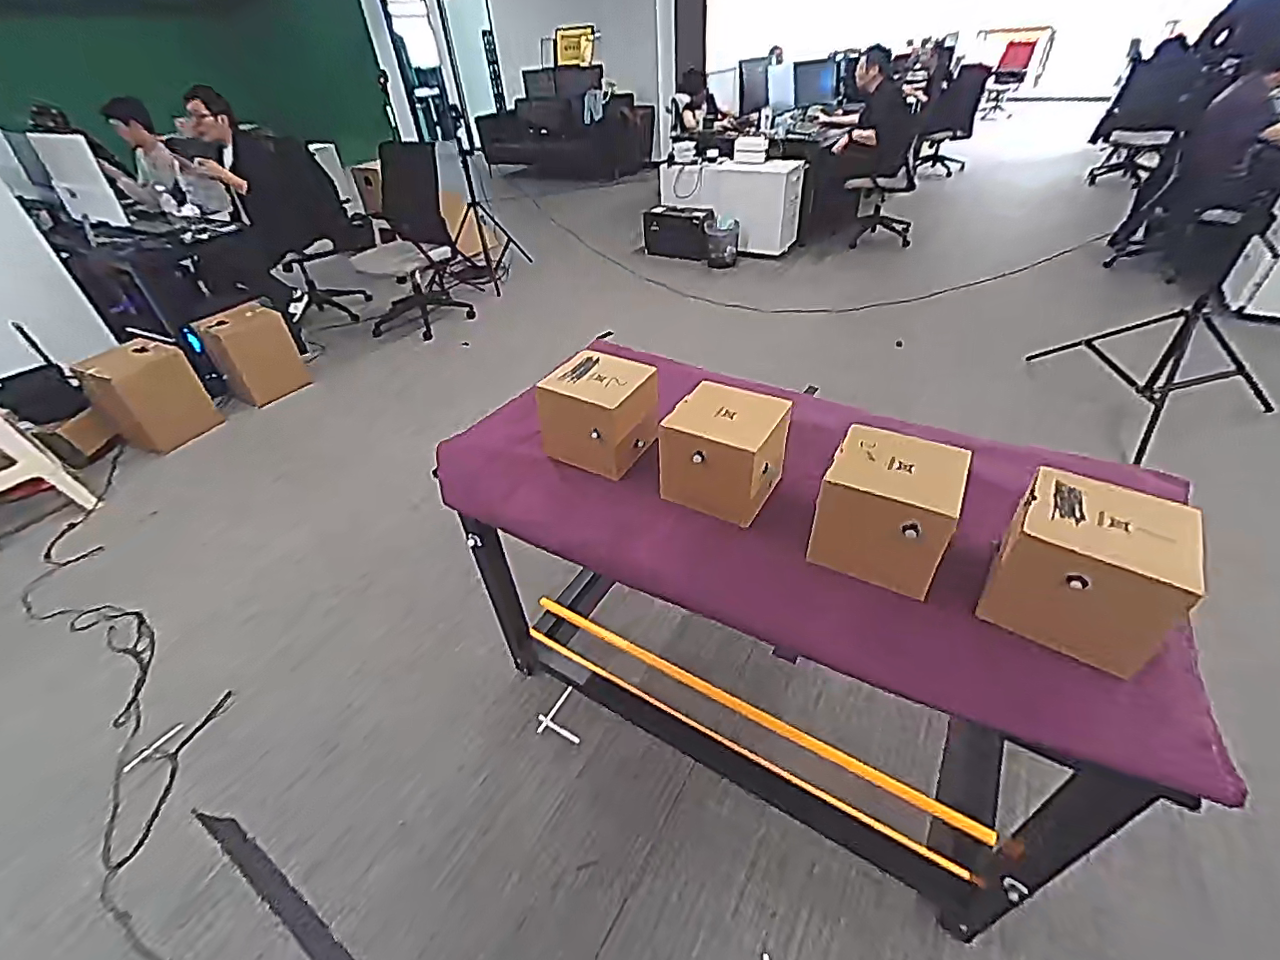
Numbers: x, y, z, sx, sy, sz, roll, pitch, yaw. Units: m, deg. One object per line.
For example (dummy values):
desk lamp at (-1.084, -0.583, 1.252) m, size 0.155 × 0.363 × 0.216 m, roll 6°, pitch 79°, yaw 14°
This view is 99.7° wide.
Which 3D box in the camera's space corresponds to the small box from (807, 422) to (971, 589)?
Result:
small box at (0.373, 0.039, 0.824) m, size 0.179 × 0.176 × 0.168 m, roll 18°, pitch 43°, yaw 26°

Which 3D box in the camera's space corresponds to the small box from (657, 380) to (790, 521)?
small box at (0.149, -0.051, 0.963) m, size 0.179 × 0.176 × 0.168 m, roll 19°, pitch 45°, yaw 27°

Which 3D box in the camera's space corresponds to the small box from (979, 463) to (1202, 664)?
small box at (0.582, 0.109, 0.716) m, size 0.179 × 0.176 × 0.168 m, roll 23°, pitch 46°, yaw 30°
